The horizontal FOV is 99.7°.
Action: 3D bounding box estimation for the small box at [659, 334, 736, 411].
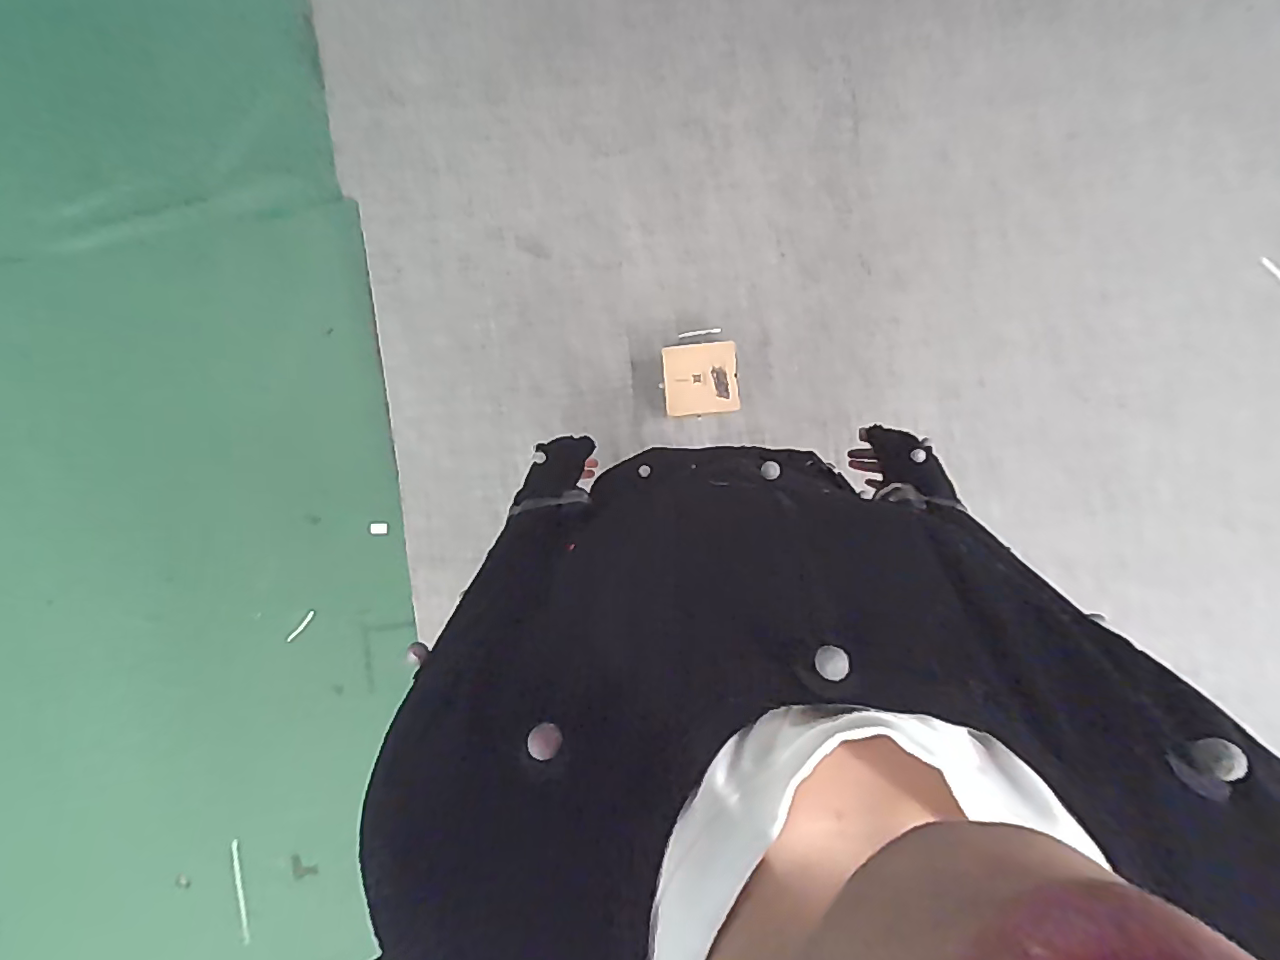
[{"bbox_3d":[0.143,-0.265,1.363,0.179,0.176,0.168,-4,93,5],"label":"small box"}]
